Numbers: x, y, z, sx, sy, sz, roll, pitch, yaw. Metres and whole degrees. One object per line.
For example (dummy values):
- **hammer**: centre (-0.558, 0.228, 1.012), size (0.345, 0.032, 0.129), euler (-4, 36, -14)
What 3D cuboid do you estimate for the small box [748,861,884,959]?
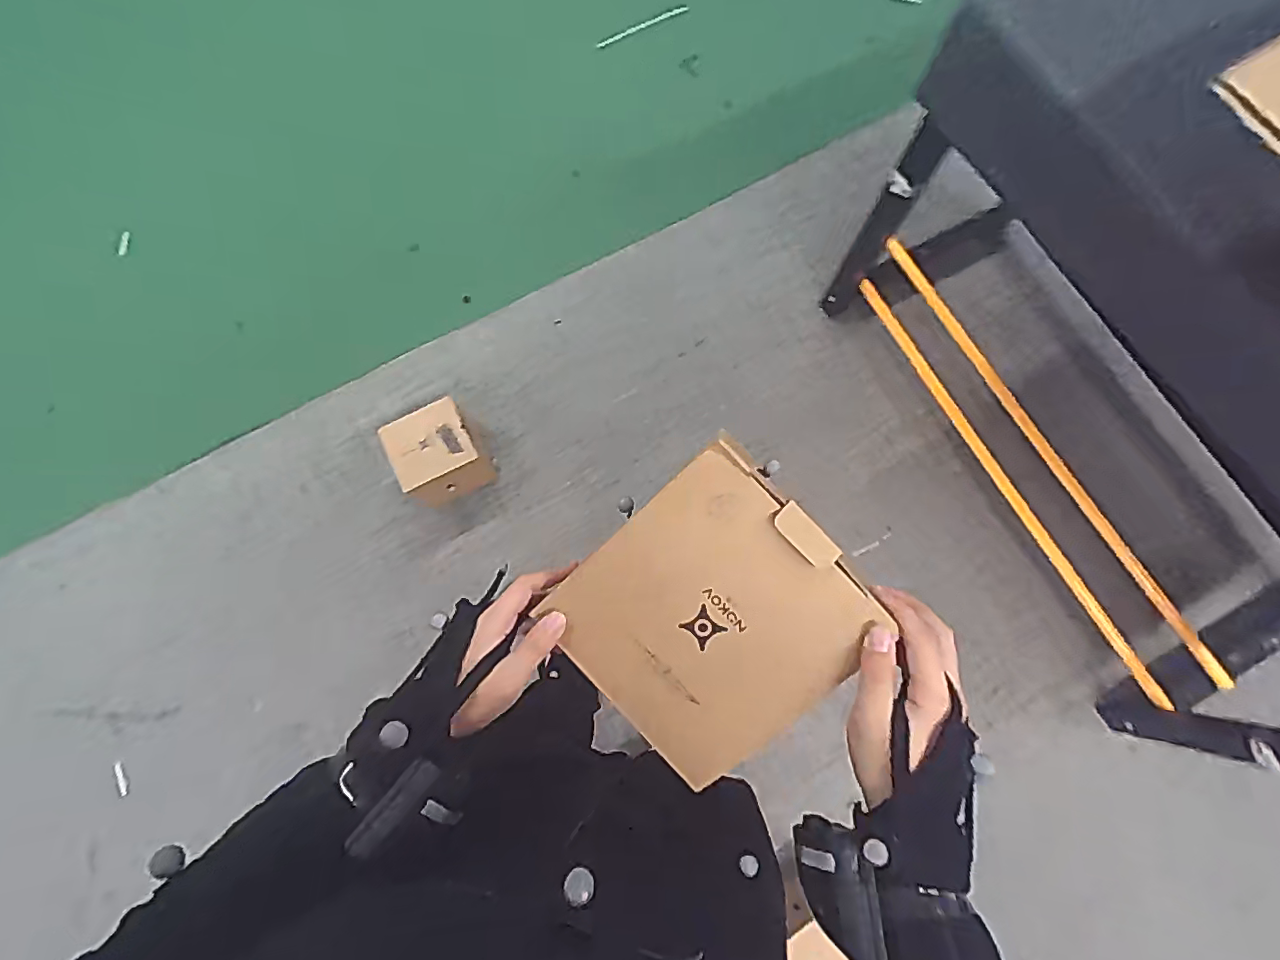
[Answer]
- **small box**: centre (0.327, 0.866, 1.008), size (0.179, 0.176, 0.168), euler (-33, 78, -8)

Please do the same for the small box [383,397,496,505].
- **small box**: centre (-0.450, -0.060, 1.250), size (0.179, 0.176, 0.168), euler (-26, 77, -5)

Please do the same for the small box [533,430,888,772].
- **small box**: centre (0.052, 0.073, 0.430), size (0.168, 0.176, 0.179), euler (45, 102, 2)
